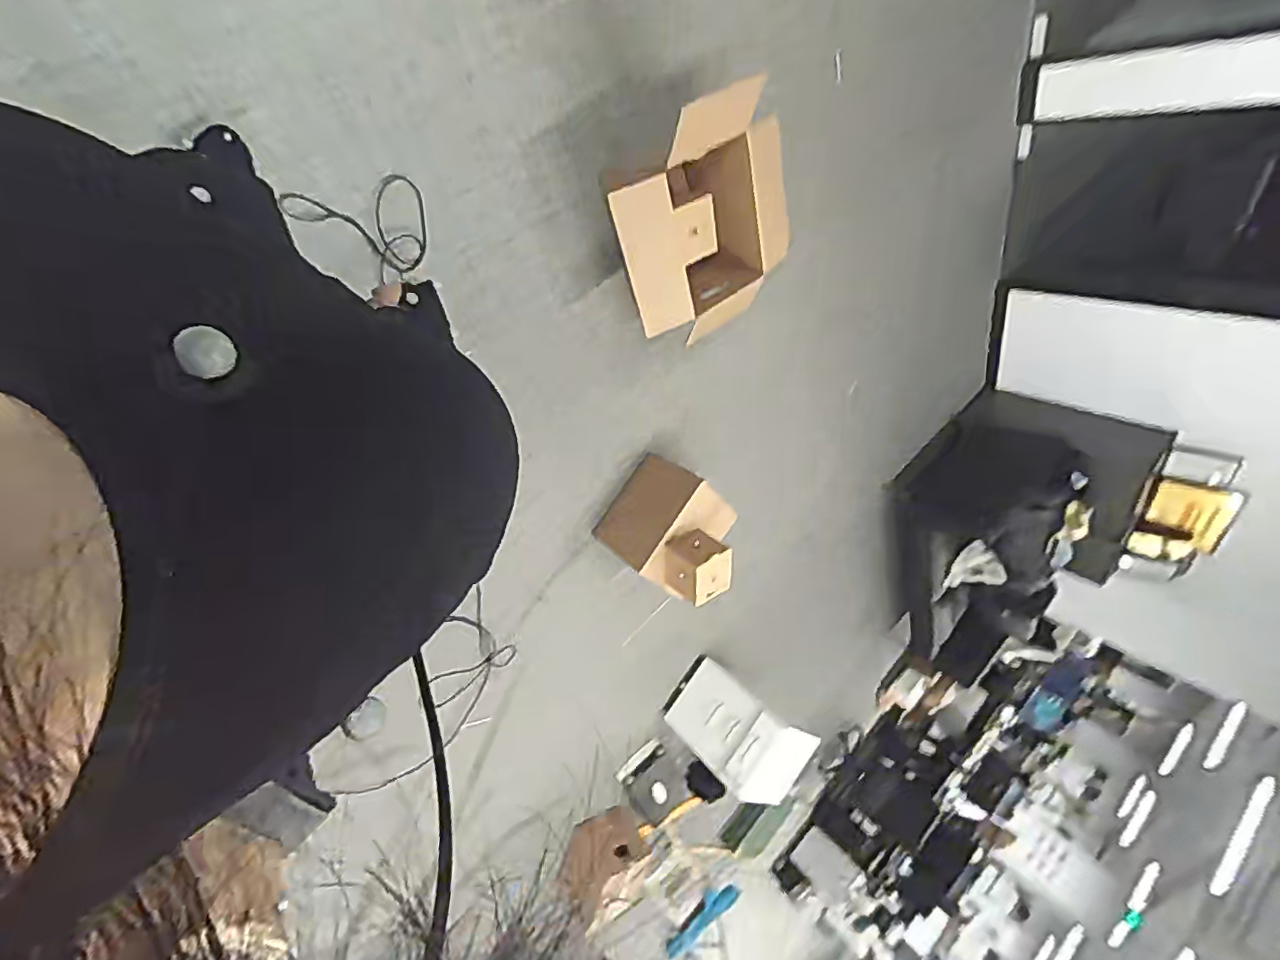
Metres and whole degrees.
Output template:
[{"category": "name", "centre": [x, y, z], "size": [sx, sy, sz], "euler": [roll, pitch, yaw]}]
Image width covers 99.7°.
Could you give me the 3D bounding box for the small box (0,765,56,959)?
[{"category": "small box", "centre": [-0.738, 0.427, 0.557], "size": [0.168, 0.176, 0.179], "euler": [8, 107, -43]}]

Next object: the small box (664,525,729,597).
[{"category": "small box", "centre": [0.200, 0.277, 1.931], "size": [0.168, 0.176, 0.179], "euler": [-23, 124, -31]}]
